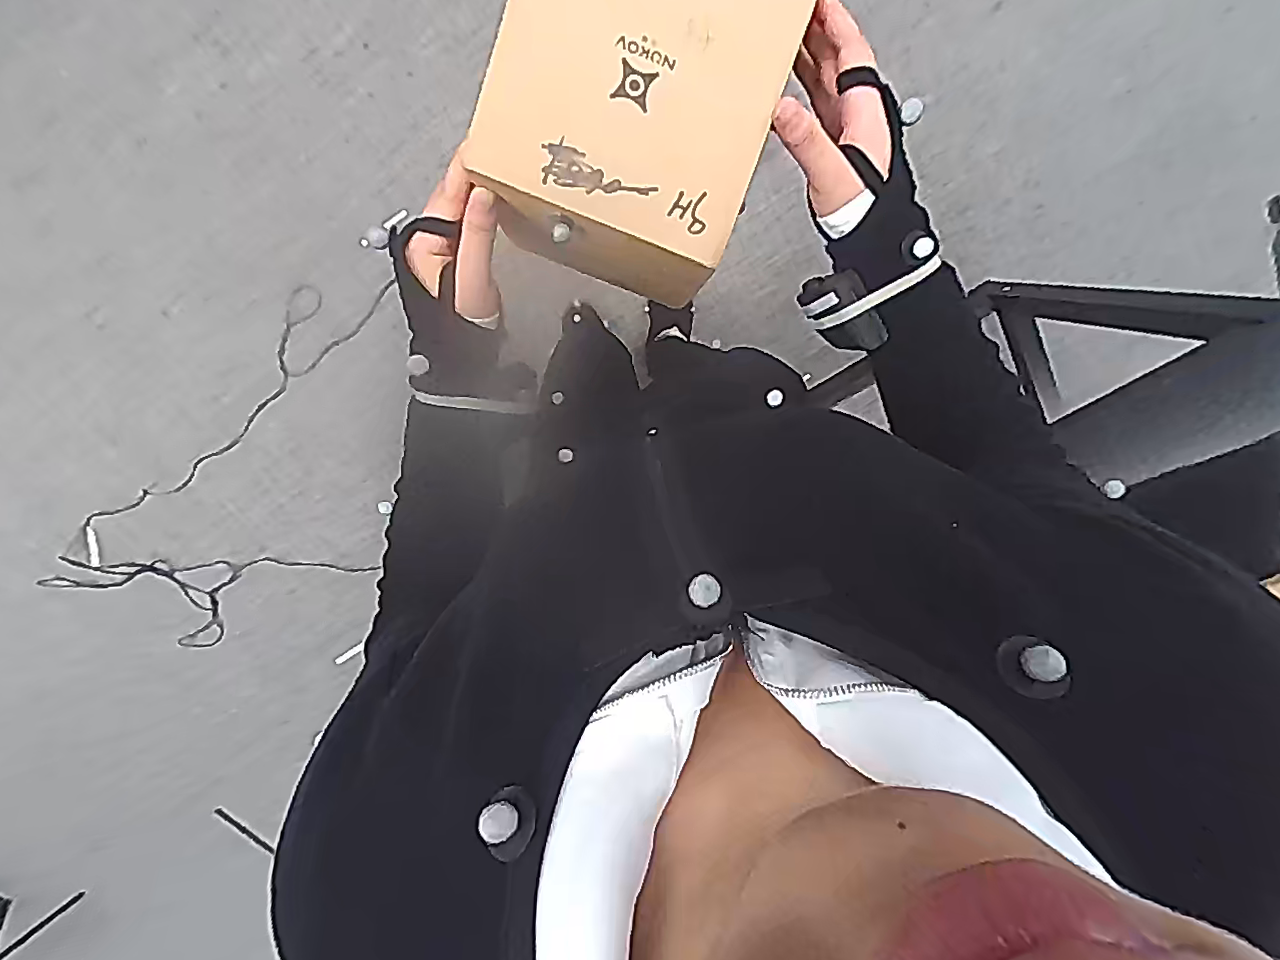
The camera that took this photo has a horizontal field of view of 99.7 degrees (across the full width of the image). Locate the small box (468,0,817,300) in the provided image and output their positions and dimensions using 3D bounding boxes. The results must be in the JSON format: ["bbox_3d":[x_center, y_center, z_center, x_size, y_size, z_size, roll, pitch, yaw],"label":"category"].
[{"bbox_3d":[-0.002,-0.255,0.395,0.168,0.176,0.179,20,97,-5],"label":"small box"}]
